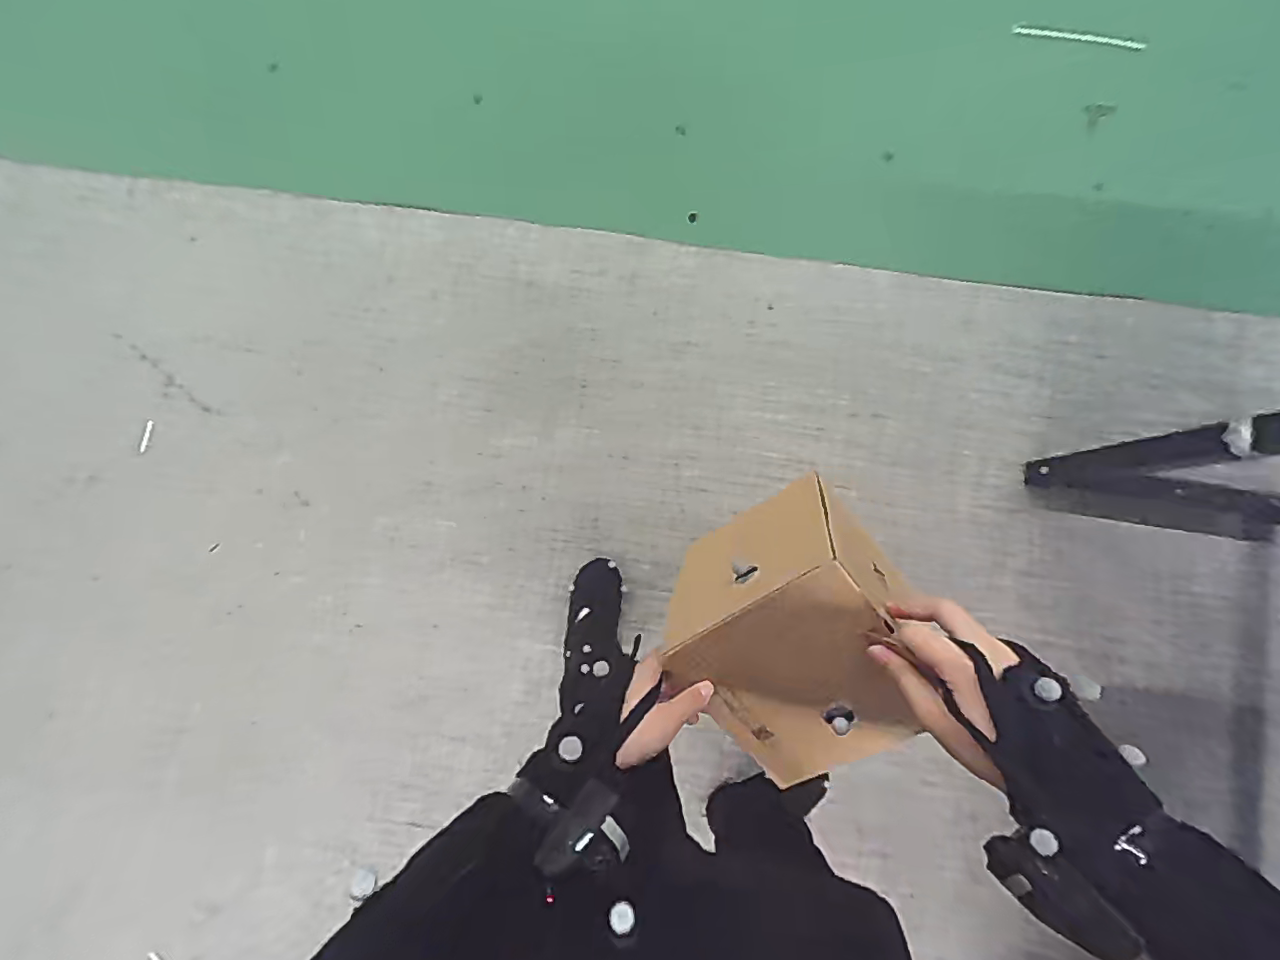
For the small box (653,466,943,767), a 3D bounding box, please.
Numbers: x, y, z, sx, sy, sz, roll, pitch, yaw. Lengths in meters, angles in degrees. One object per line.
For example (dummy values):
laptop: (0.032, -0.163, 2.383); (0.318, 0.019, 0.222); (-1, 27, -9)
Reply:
small box: (0.132, 0.122, 0.498); (0.176, 0.179, 0.168); (-37, 100, 23)
